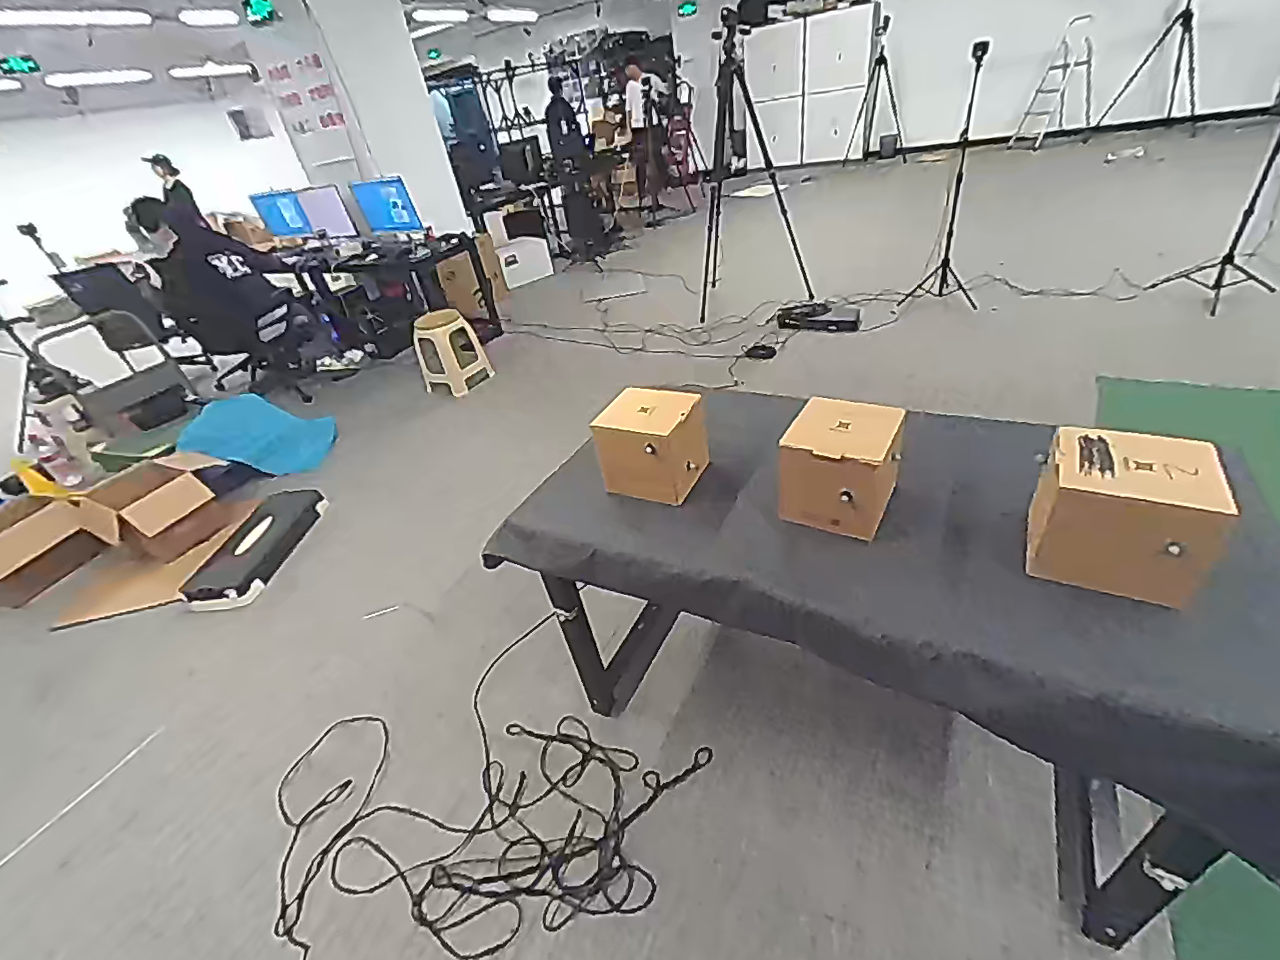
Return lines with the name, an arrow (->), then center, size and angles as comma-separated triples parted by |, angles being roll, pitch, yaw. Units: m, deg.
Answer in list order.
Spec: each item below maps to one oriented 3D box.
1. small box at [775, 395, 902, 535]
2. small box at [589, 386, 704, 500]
small box -> 0.351, -0.028, 0.962 | 0.168, 0.176, 0.179 | 15, 42, 30
small box -> 0.021, -0.078, 1.116 | 0.179, 0.176, 0.168 | 11, 40, 26
